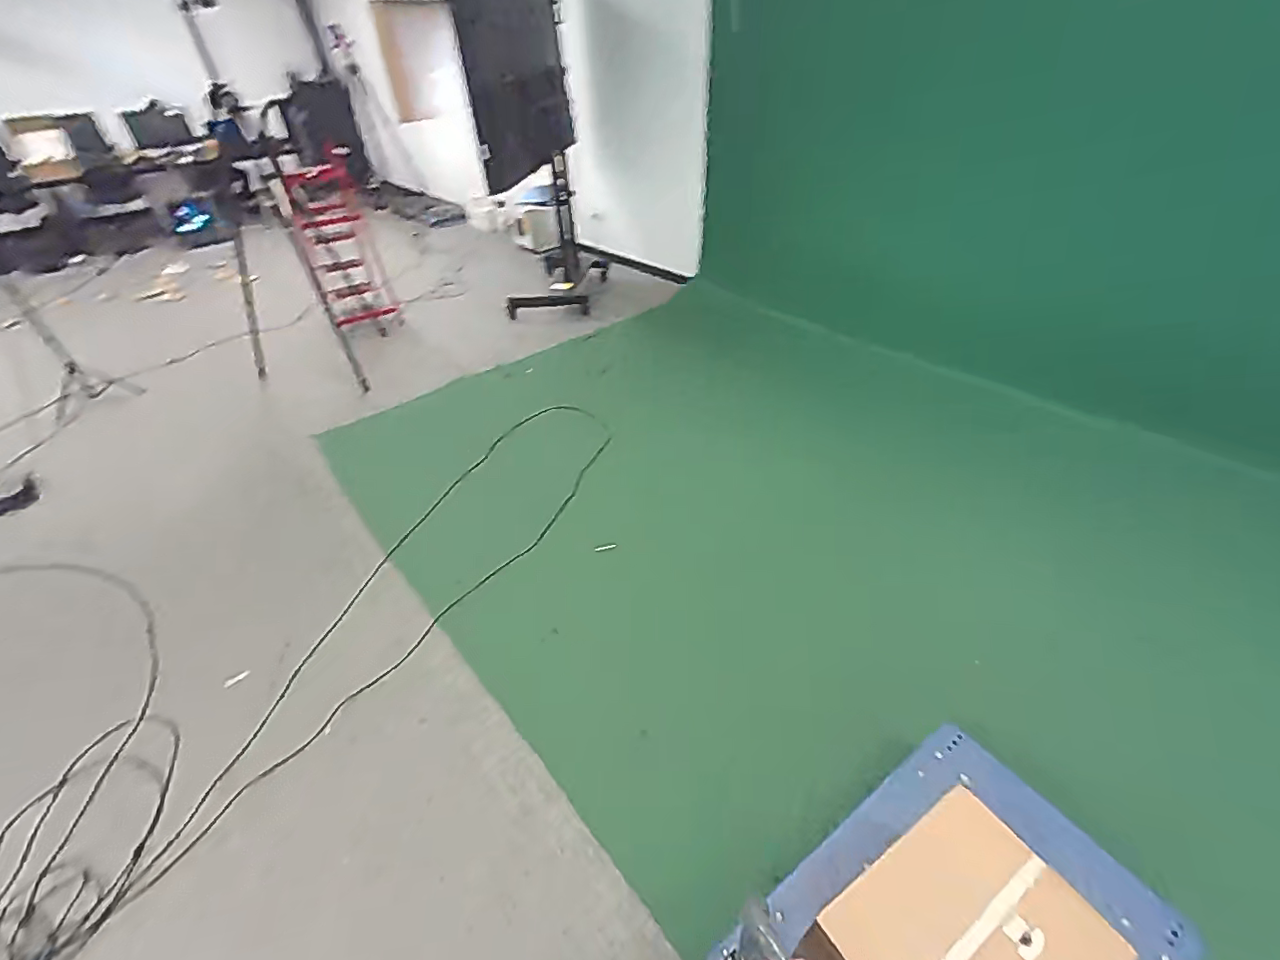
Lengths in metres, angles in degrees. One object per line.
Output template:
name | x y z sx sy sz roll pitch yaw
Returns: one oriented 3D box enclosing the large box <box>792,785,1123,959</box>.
large box | 0.544 0.871 0.989 0.408 0.320 0.320 -22 44 -23
